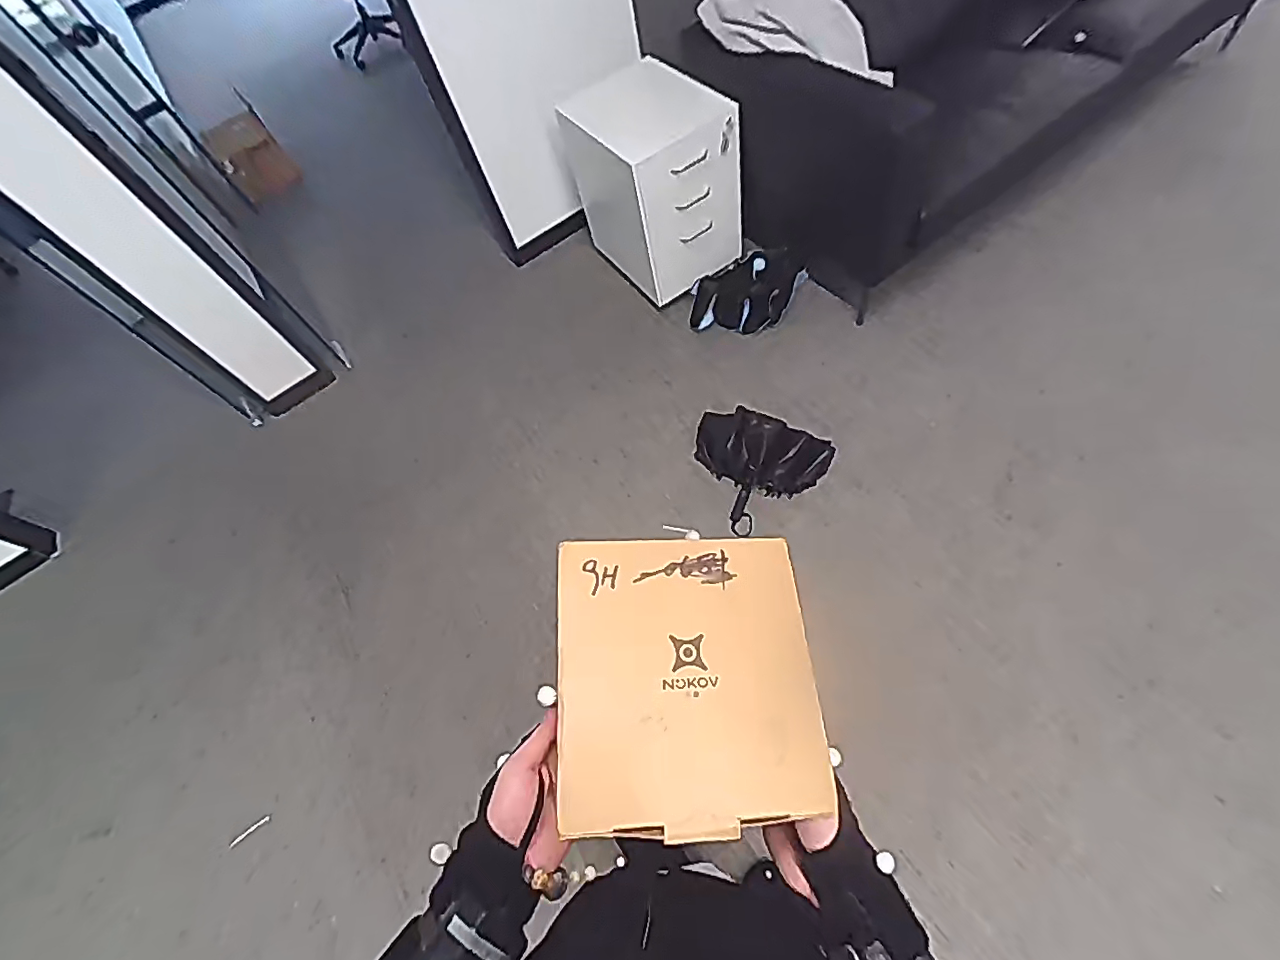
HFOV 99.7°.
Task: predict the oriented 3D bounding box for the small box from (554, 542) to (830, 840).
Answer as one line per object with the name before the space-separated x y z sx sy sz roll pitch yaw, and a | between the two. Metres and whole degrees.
small box | 0.020 0.157 0.418 0.168 0.176 0.179 1 64 -8
